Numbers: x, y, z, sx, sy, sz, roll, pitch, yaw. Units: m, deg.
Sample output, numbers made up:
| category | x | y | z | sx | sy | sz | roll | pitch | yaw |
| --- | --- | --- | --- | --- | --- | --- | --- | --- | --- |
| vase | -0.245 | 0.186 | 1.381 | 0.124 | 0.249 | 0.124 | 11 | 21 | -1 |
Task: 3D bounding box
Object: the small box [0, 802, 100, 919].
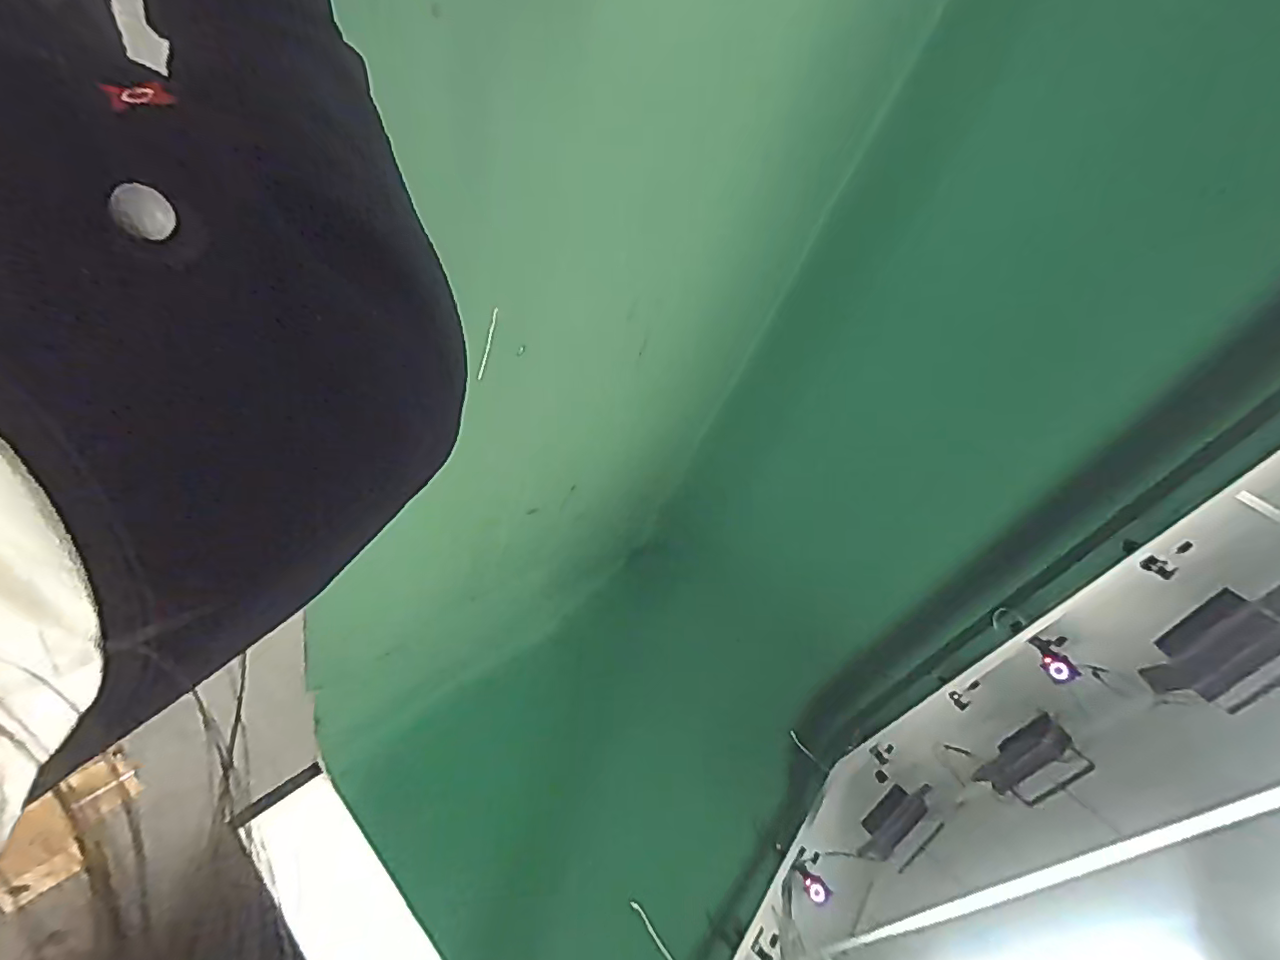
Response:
| category | x | y | z | sx | sy | sz | roll | pitch | yaw |
| --- | --- | --- | --- | --- | --- | --- | --- | --- | --- |
| small box | -1.648 | 1.039 | 1.485 | 0.179 | 0.176 | 0.168 | -28 | 151 | -47 |
